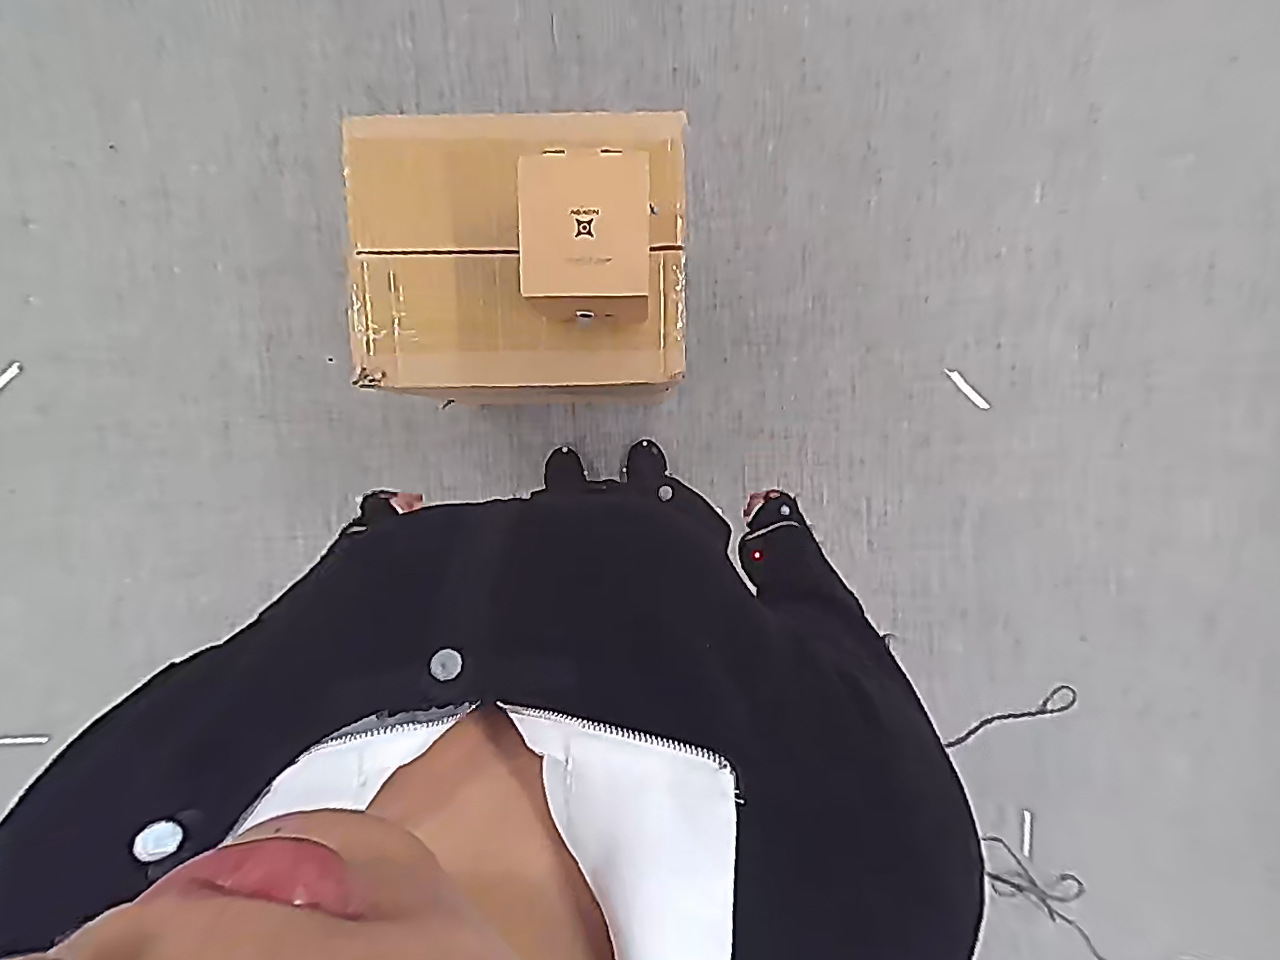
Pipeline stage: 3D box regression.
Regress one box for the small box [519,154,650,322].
[{"bbox_3d":[-0.069,-0.326,0.758,0.168,0.176,0.179,-1,97,1],"label":"small box"}]
